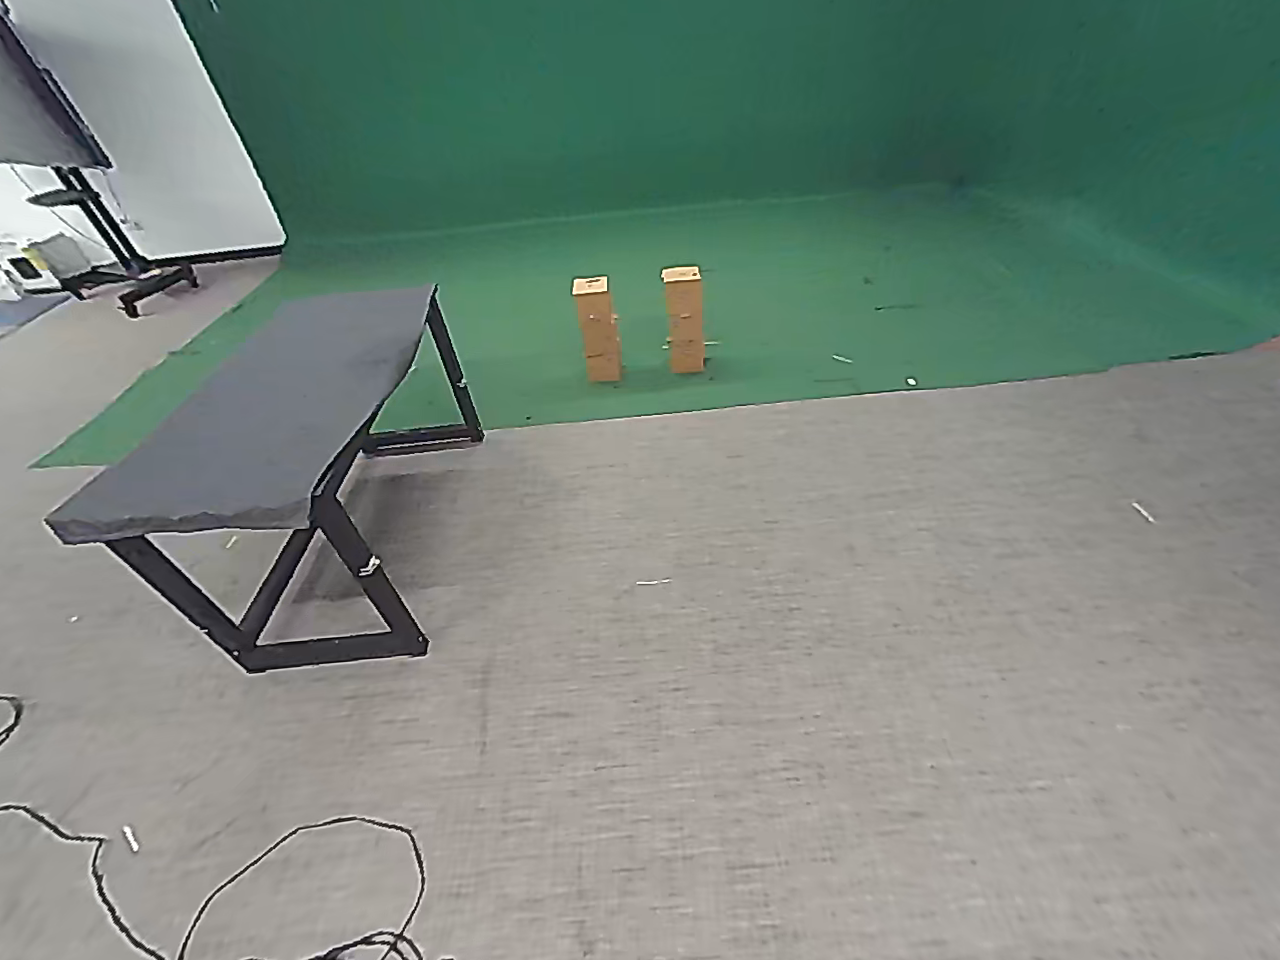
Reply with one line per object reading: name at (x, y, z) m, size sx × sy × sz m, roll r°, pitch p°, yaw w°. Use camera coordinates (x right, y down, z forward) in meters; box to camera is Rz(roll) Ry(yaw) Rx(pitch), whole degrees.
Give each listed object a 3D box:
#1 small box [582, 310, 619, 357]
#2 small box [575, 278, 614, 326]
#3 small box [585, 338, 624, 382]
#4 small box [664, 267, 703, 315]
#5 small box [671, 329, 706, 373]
small box at (-0.199, -0.749, 2.761) m, size 0.179 × 0.176 × 0.168 m, roll -7°, pitch 41°, yaw 0°
small box at (-0.220, -0.873, 2.655) m, size 0.168 × 0.176 × 0.179 m, roll -5°, pitch 42°, yaw 2°
small box at (-0.184, -0.637, 2.878) m, size 0.179 × 0.176 × 0.168 m, roll -2°, pitch 42°, yaw 6°
small box at (0.216, -0.926, 2.657) m, size 0.179 × 0.176 × 0.168 m, roll -4°, pitch 41°, yaw 4°
small box at (0.256, -0.683, 2.874) m, size 0.179 × 0.176 × 0.168 m, roll -3°, pitch 42°, yaw 5°
